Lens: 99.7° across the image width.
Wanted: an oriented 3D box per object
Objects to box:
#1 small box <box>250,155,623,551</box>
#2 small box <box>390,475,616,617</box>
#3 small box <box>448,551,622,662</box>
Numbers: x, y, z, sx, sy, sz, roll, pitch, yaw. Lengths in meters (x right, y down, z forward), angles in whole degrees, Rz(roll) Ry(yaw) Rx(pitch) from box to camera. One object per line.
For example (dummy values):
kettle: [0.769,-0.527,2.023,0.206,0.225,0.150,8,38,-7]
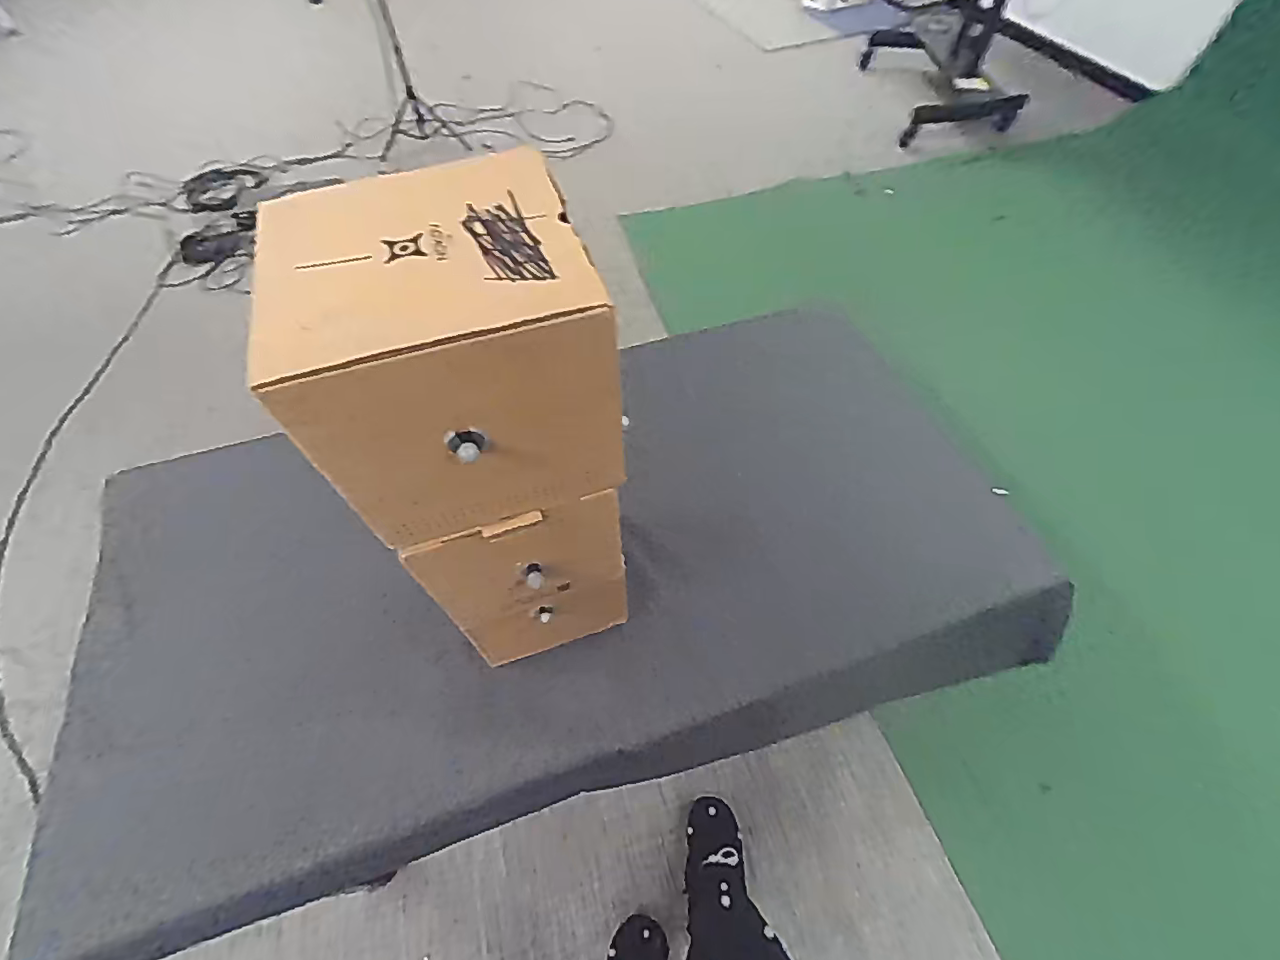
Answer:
small box: [-0.120,-0.079,0.362,0.179,0.176,0.168,-19,59,-13]
small box: [-0.125,0.010,0.501,0.168,0.176,0.179,-18,59,-11]
small box: [-0.126,0.095,0.641,0.179,0.176,0.168,-17,59,-12]
